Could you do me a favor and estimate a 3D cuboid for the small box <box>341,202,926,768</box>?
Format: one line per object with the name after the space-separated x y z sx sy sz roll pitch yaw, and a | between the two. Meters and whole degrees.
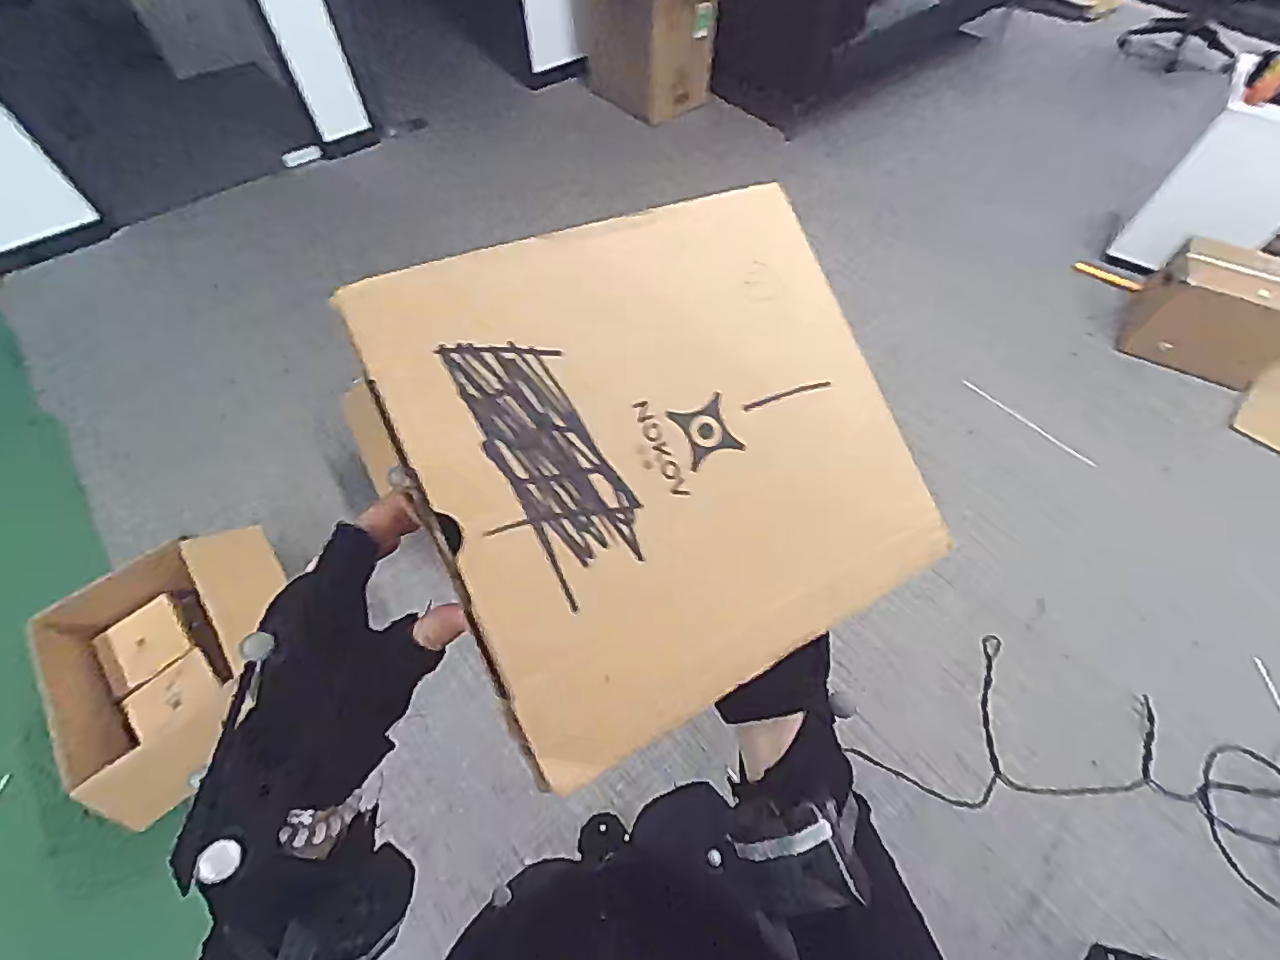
-0.012 0.002 0.272 0.179 0.176 0.168 -22 86 -19 | small box
